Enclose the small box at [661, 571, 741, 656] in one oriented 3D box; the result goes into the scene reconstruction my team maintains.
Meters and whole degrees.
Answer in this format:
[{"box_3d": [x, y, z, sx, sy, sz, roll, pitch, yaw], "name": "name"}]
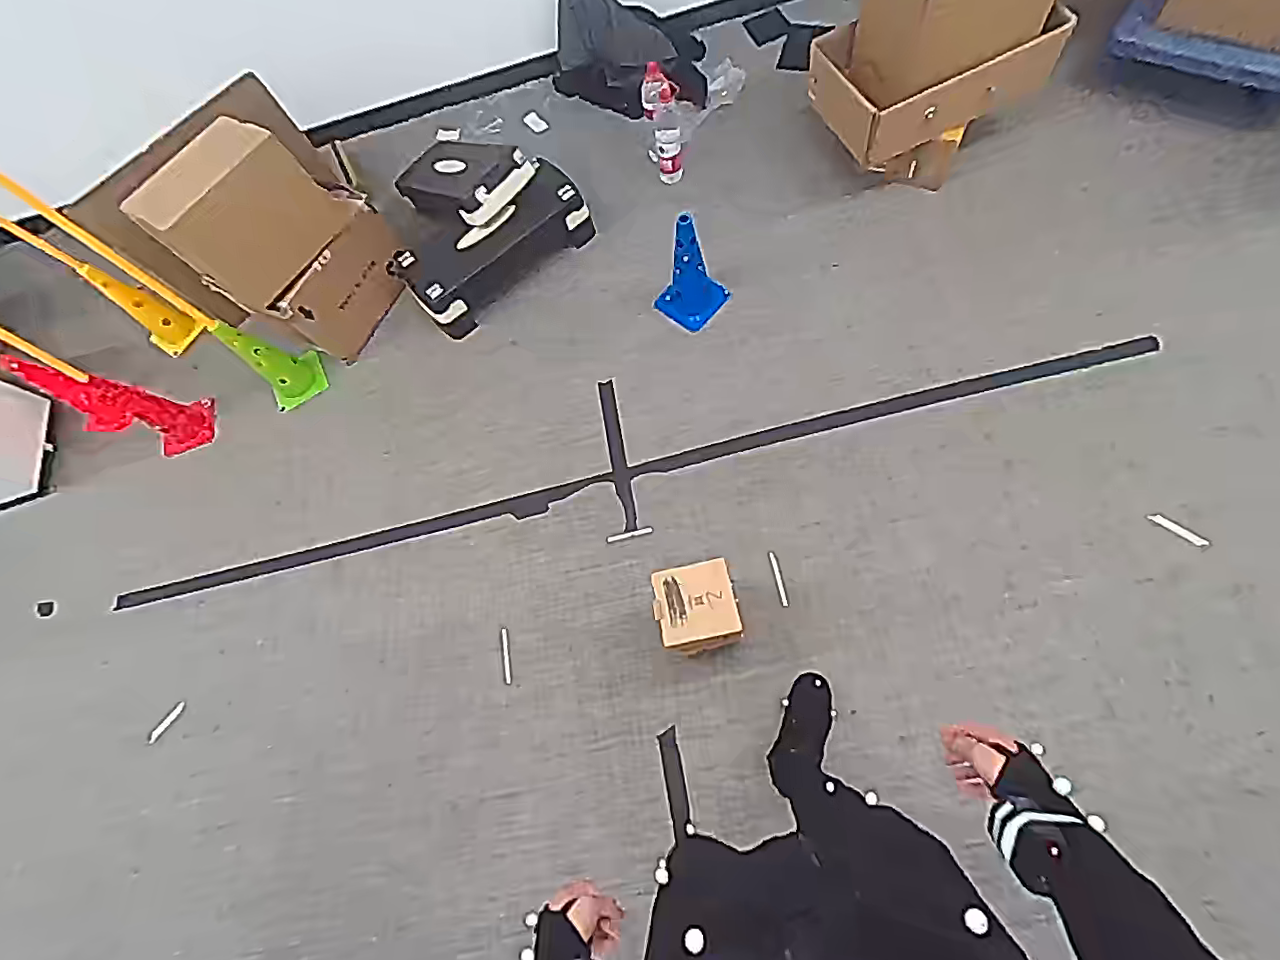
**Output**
[{"box_3d": [0.164, 0.354, 1.416, 0.168, 0.176, 0.179, -17, 68, 4], "name": "small box"}]
